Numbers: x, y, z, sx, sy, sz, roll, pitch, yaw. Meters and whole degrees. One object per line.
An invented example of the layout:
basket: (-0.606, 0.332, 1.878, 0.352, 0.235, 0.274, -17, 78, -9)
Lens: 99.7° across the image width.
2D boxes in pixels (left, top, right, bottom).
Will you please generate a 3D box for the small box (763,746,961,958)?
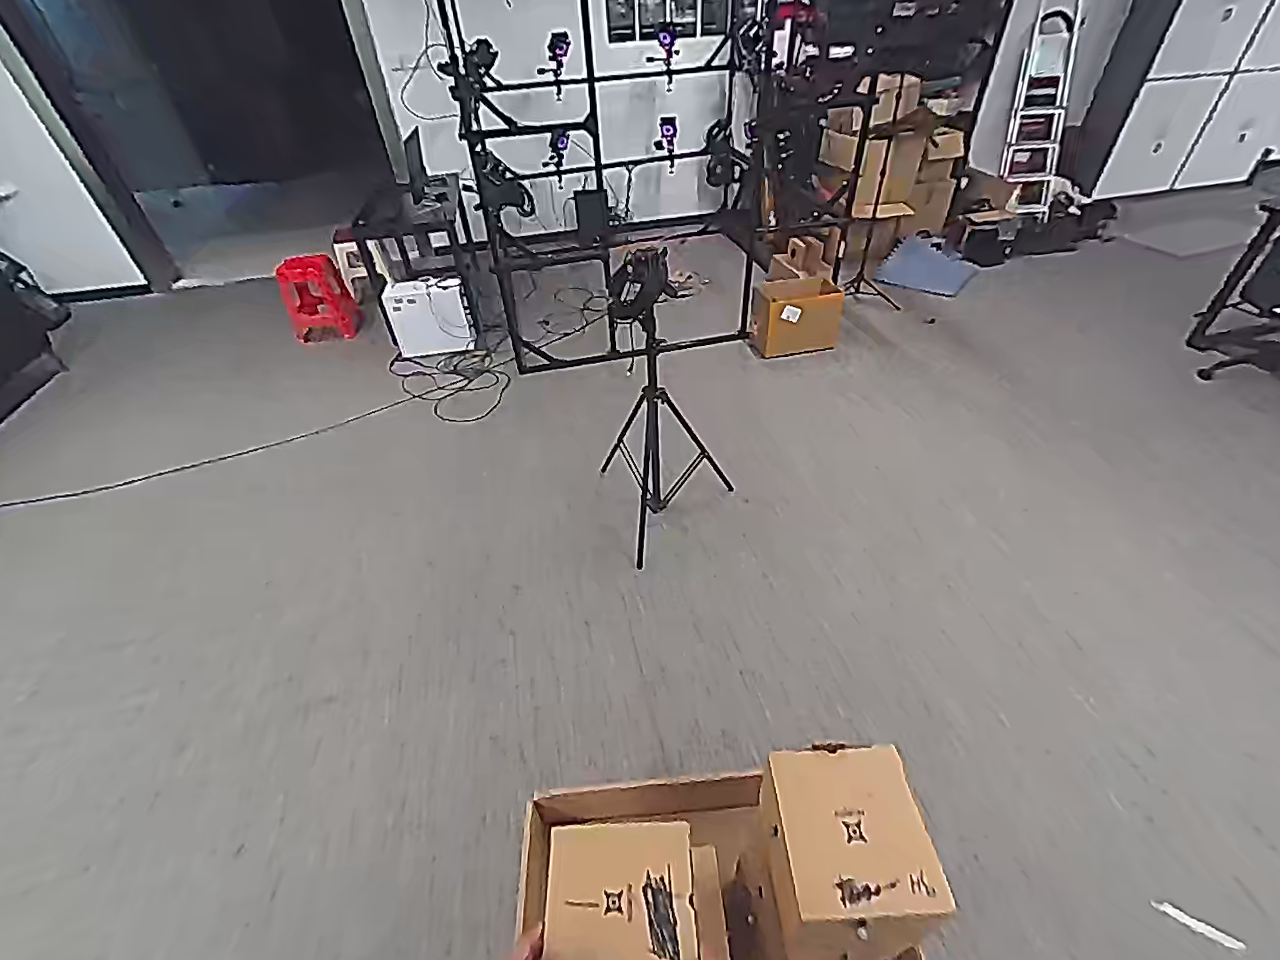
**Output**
small box: (0.252, 0.457, 0.668, 0.168, 0.176, 0.179, -4, 39, 2)

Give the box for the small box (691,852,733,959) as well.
small box: (0.048, 0.727, 0.877, 0.179, 0.176, 0.168, -4, 40, 0)

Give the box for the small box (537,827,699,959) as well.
small box: (-0.024, 0.546, 0.661, 0.179, 0.176, 0.168, -2, 40, 0)
